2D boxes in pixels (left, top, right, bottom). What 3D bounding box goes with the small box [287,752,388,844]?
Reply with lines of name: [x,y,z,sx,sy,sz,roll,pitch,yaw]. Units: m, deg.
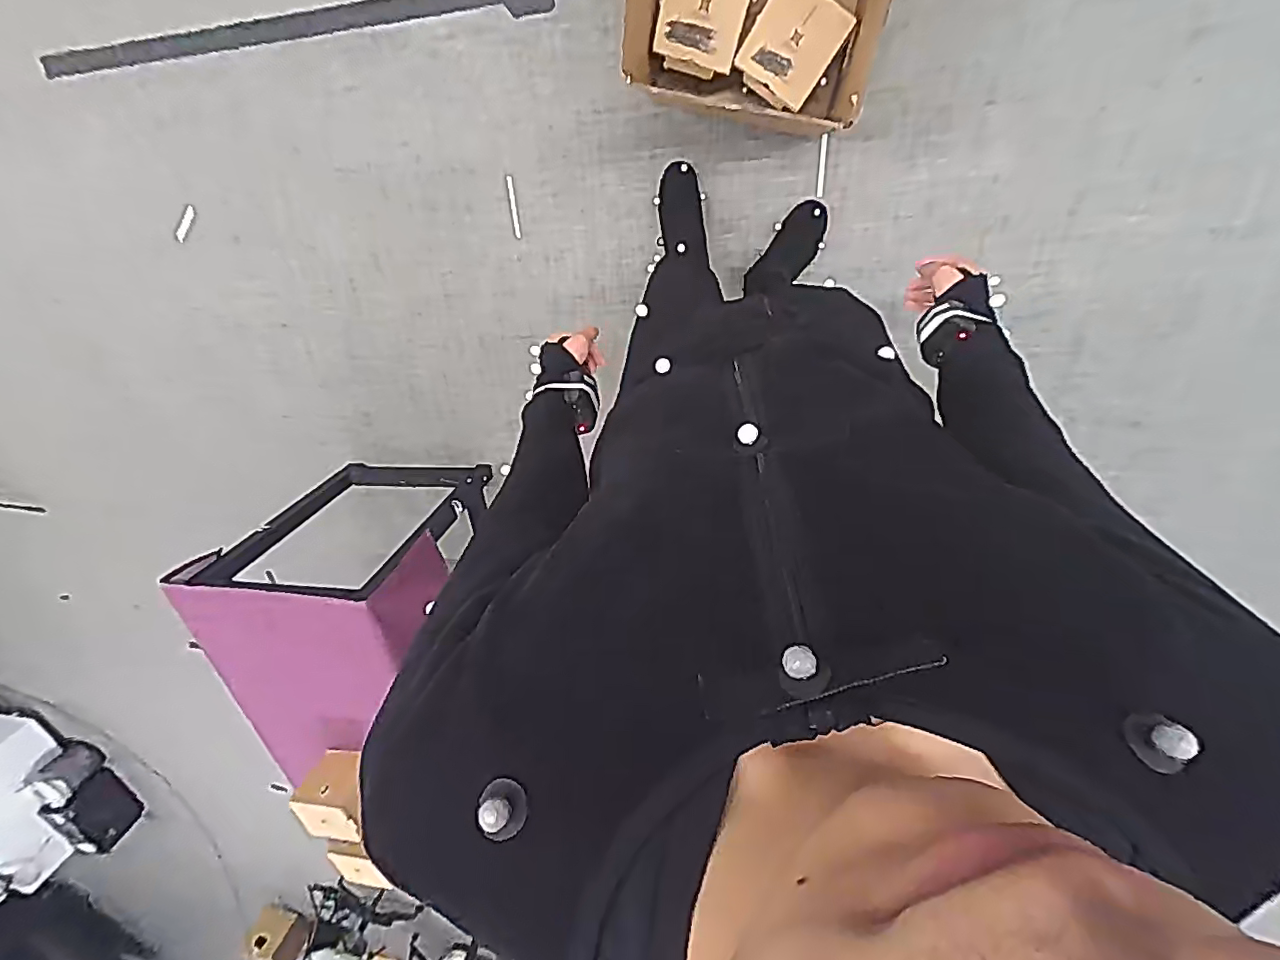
small box: [-0.874,0.930,1.589,0.179,0.176,0.168,-1,118,13]

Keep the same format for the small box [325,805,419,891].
small box: [-0.836,1.150,1.703,0.179,0.176,0.168,-2,119,13]
